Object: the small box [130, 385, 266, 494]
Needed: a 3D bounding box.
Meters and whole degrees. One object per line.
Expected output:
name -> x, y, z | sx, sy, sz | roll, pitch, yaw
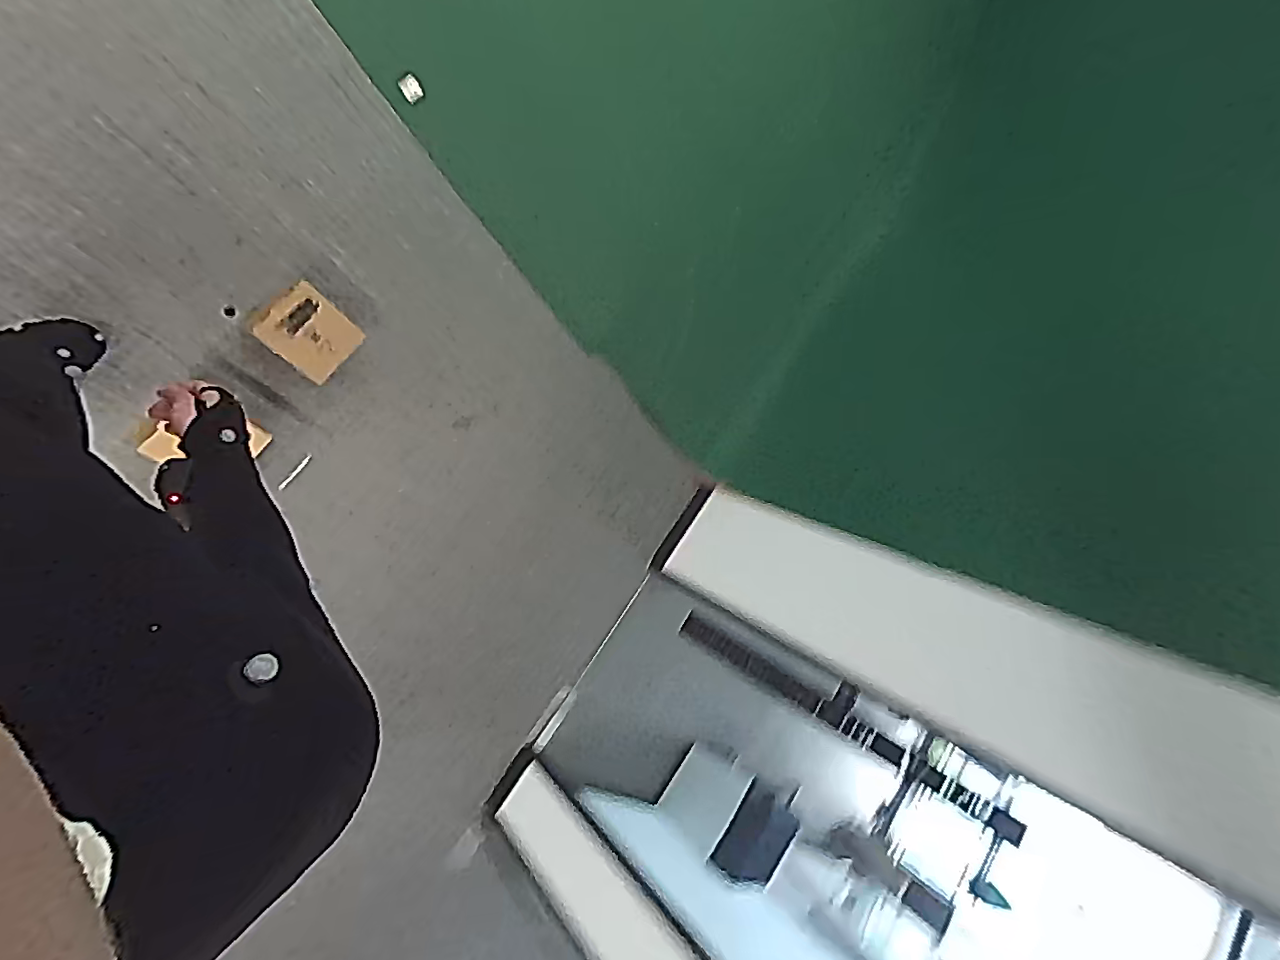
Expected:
small box -> -1.006, -0.098, 1.236 | 0.168, 0.176, 0.179 | -54, 133, -12
